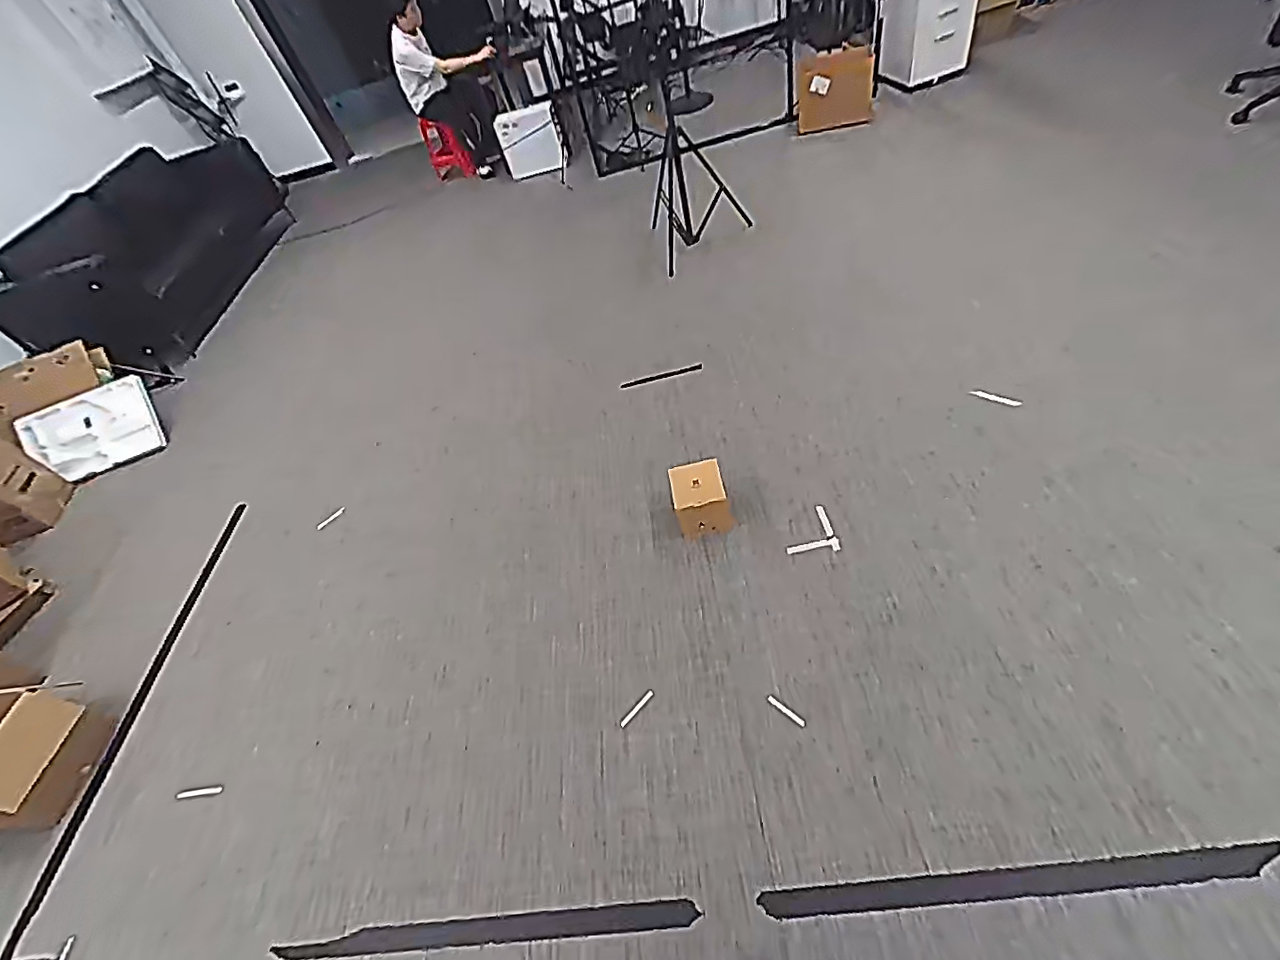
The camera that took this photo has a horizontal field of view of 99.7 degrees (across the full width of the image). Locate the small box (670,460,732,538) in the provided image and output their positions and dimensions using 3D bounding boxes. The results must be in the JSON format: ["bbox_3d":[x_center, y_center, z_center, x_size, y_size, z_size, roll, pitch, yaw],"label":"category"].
[{"bbox_3d":[0.202,0.065,1.796,0.168,0.176,0.179,-13,49,6],"label":"small box"}]
